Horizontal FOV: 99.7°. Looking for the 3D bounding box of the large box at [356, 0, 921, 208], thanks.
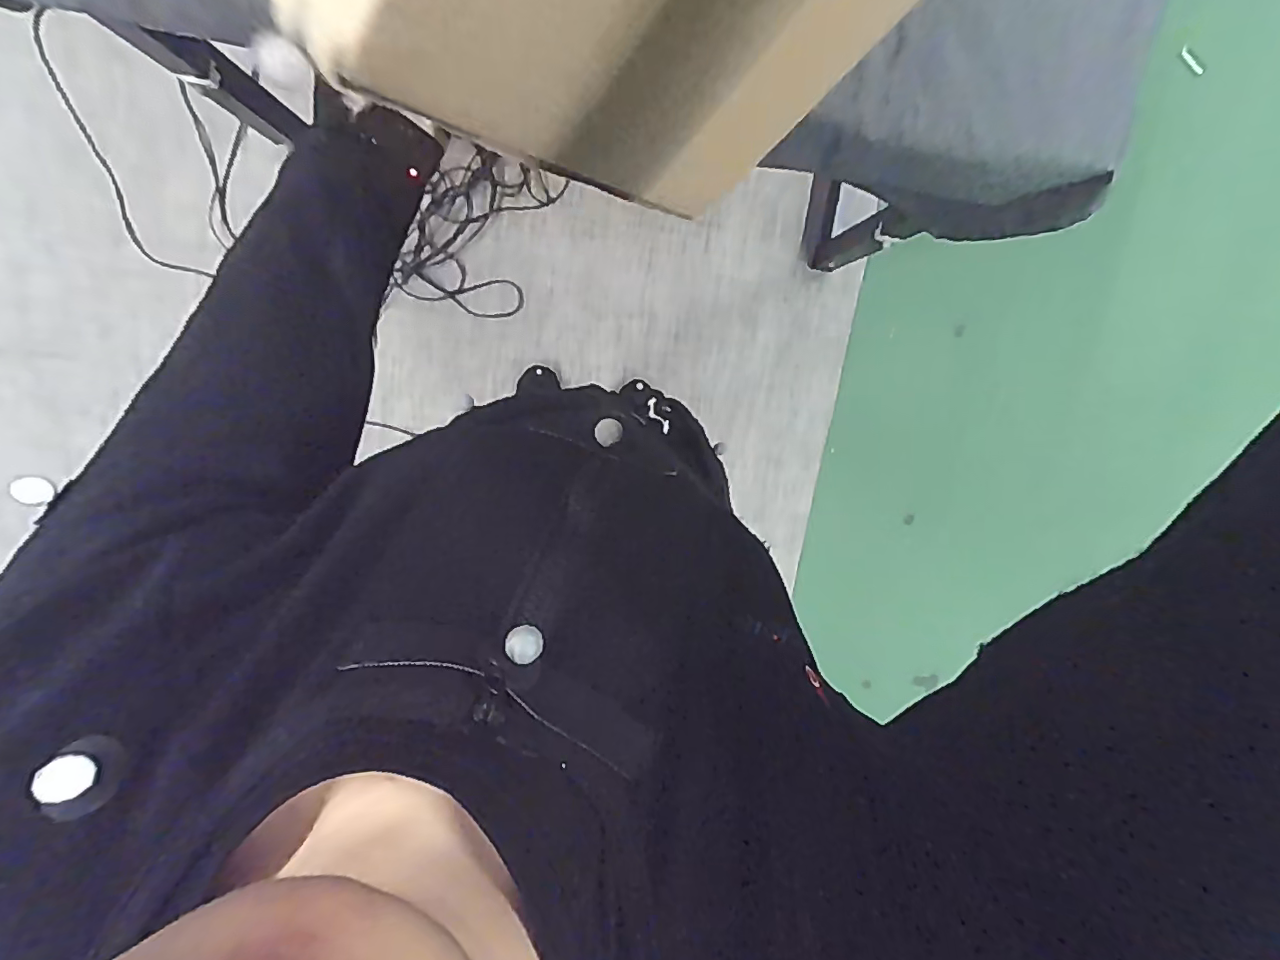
[{"bbox_3d":[0.040,-0.388,0.201,0.408,0.320,0.320,-39,88,32],"label":"large box"}]
